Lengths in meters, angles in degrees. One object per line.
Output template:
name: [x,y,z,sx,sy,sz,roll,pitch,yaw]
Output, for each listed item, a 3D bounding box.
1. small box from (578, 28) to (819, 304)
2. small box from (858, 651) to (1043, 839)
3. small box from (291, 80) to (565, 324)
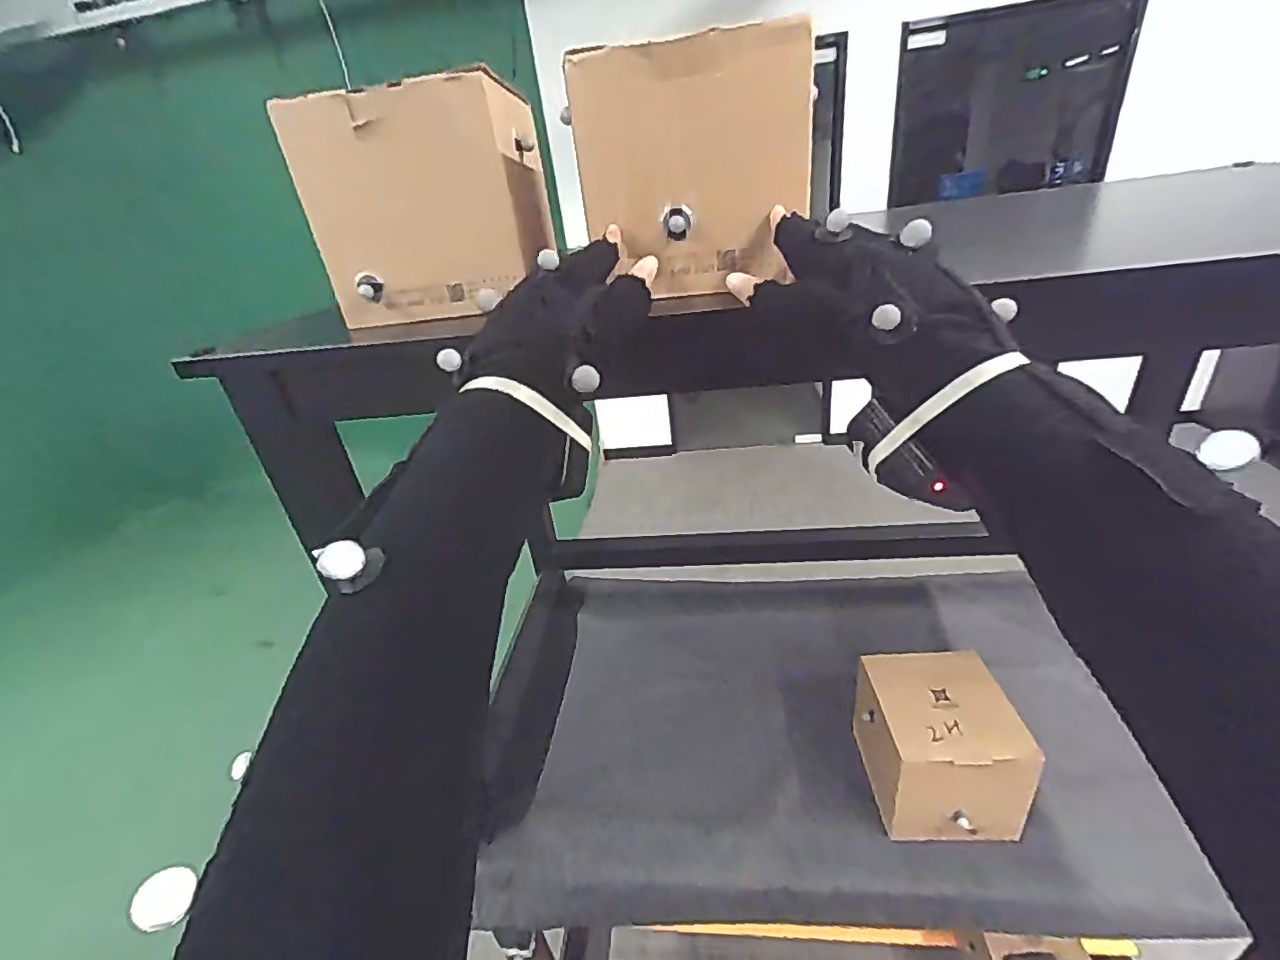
small box: [0.053,-0.256,0.473,0.168,0.176,0.179,-4,28,8]
small box: [0.417,0.368,0.765,0.168,0.176,0.179,-5,27,7]
small box: [-0.172,-0.249,0.509,0.168,0.176,0.179,-5,27,4]
